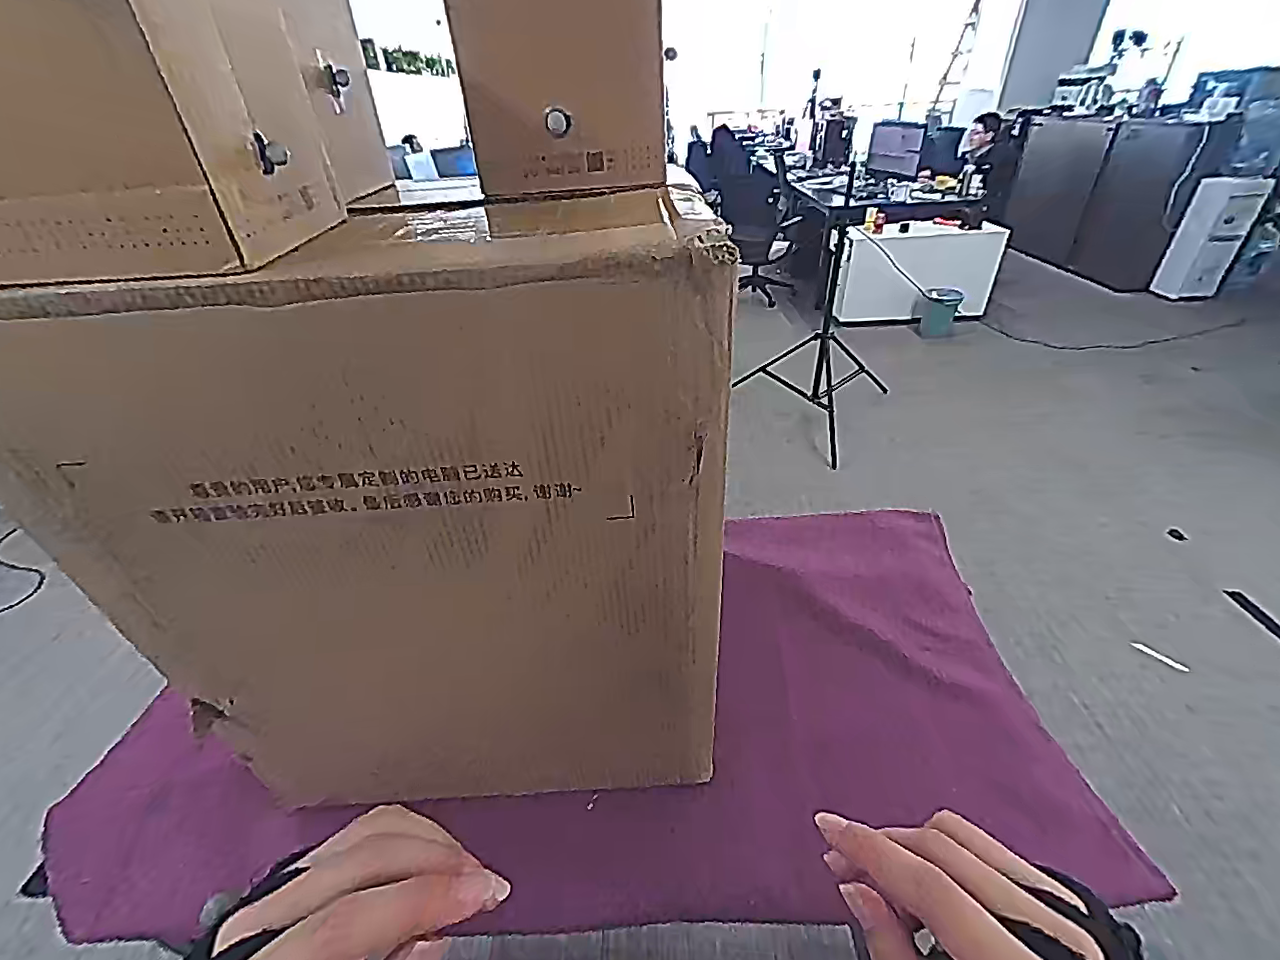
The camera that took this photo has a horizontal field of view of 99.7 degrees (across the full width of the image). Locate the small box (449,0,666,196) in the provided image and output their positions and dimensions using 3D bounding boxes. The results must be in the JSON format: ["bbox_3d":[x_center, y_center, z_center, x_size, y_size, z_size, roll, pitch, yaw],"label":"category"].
[{"bbox_3d":[-0.063,-0.367,0.499,0.168,0.176,0.179,-3,35,3],"label":"small box"}]
